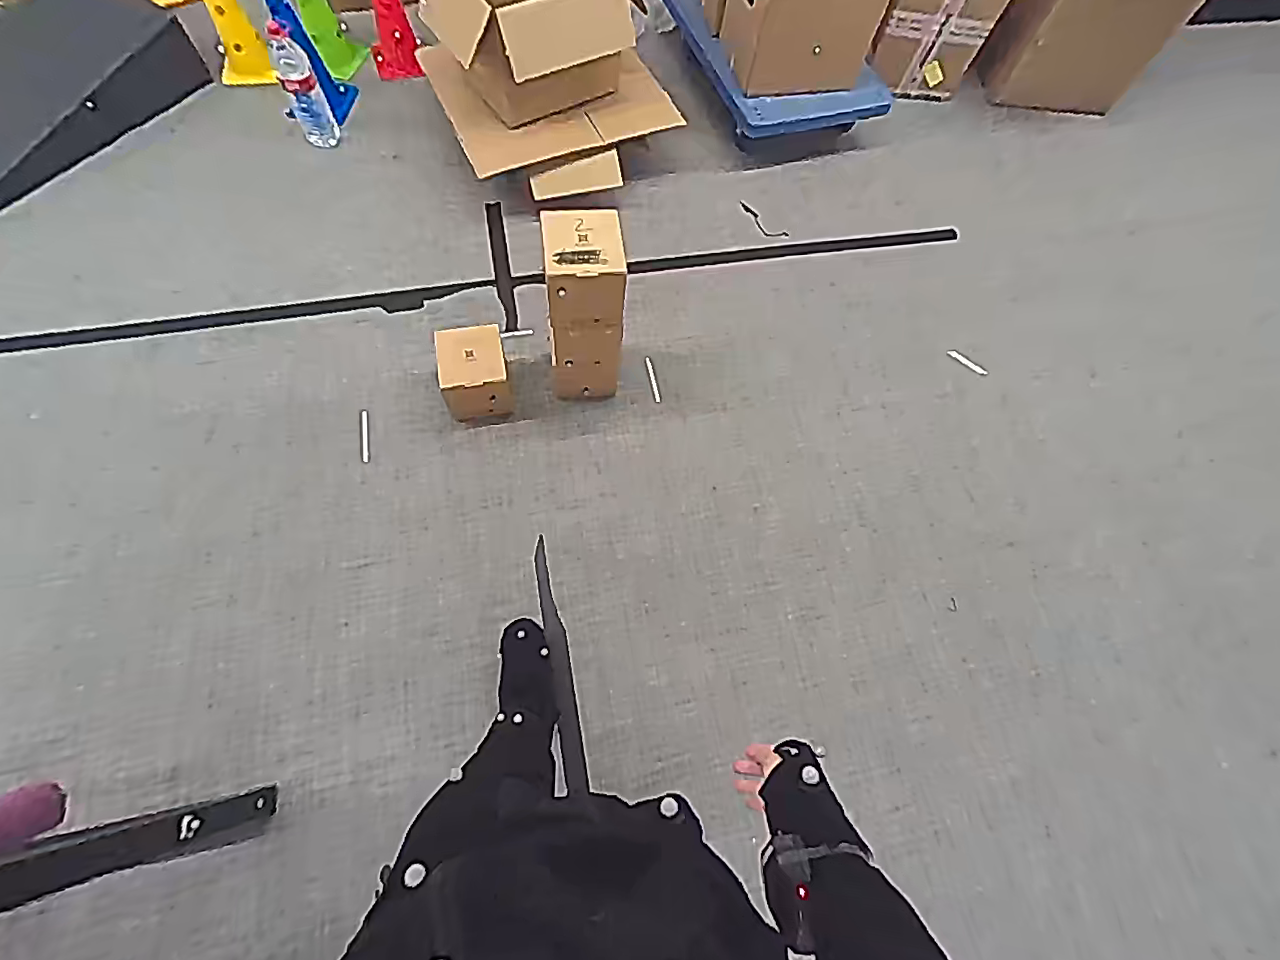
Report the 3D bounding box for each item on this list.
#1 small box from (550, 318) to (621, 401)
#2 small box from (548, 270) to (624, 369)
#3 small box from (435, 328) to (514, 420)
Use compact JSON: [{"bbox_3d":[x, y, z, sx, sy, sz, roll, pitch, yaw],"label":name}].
[{"bbox_3d":[-0.154,-0.331,1.490,0.179,0.176,0.168,-5,69,-9],"label":"small box"},{"bbox_3d":[-0.134,-0.388,1.337,0.168,0.176,0.179,-6,68,-9],"label":"small box"},{"bbox_3d":[-0.435,-0.273,1.436,0.168,0.176,0.179,-10,68,-11],"label":"small box"}]
